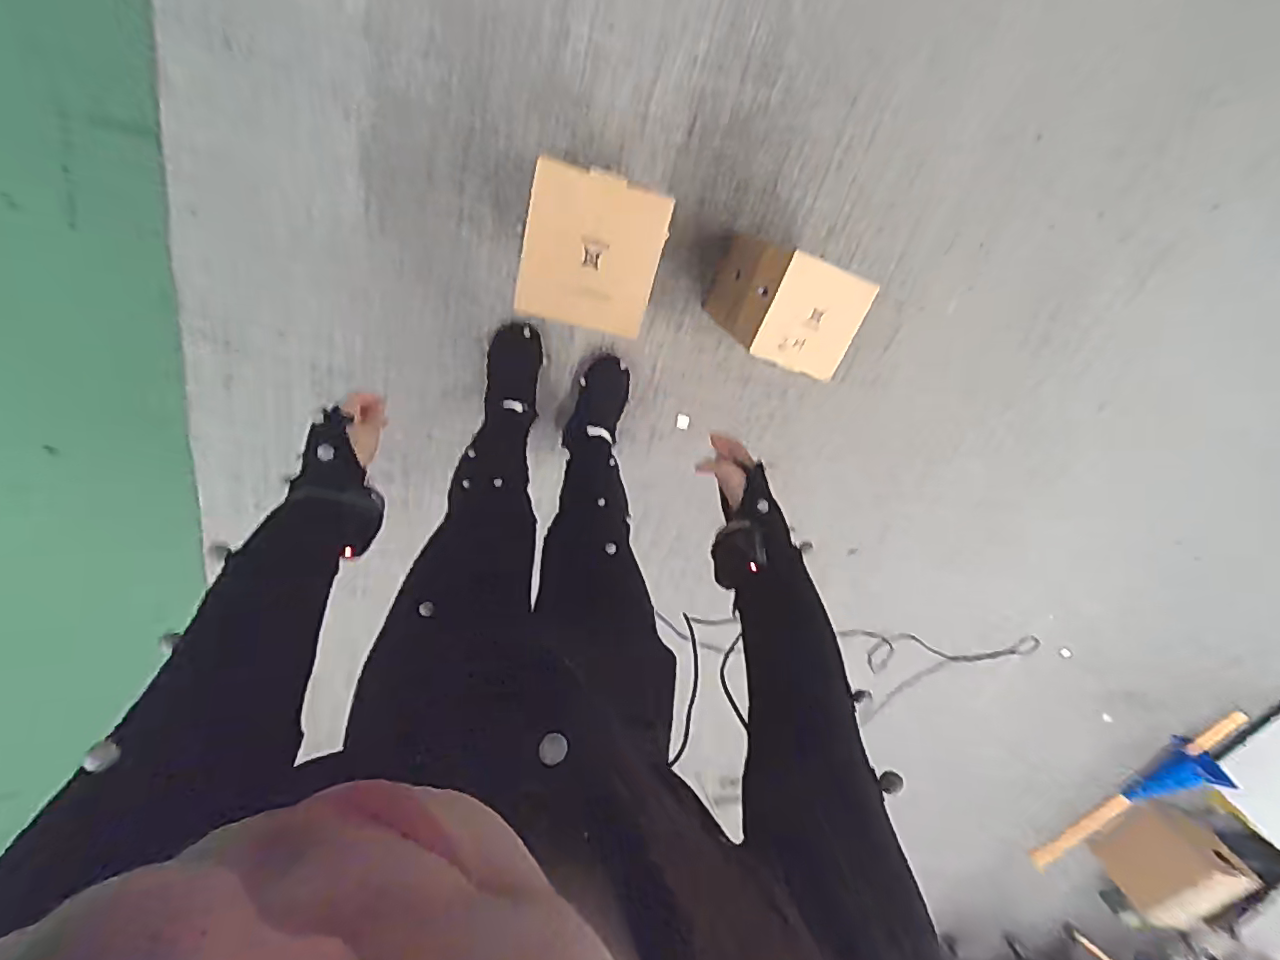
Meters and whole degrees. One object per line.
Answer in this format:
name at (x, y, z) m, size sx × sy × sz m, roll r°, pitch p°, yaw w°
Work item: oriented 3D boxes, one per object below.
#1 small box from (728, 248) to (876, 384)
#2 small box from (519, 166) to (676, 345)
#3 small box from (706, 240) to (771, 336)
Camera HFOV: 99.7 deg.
small box at (0.278, -0.301, 0.974) m, size 0.168 × 0.176 × 0.179 m, roll 16°, pitch 115°, yaw -15°
small box at (-0.064, -0.305, 0.735) m, size 0.168 × 0.176 × 0.179 m, roll 10°, pitch 117°, yaw -12°
small box at (0.253, -0.377, 1.118) m, size 0.168 × 0.176 × 0.179 m, roll 17°, pitch 116°, yaw -17°
